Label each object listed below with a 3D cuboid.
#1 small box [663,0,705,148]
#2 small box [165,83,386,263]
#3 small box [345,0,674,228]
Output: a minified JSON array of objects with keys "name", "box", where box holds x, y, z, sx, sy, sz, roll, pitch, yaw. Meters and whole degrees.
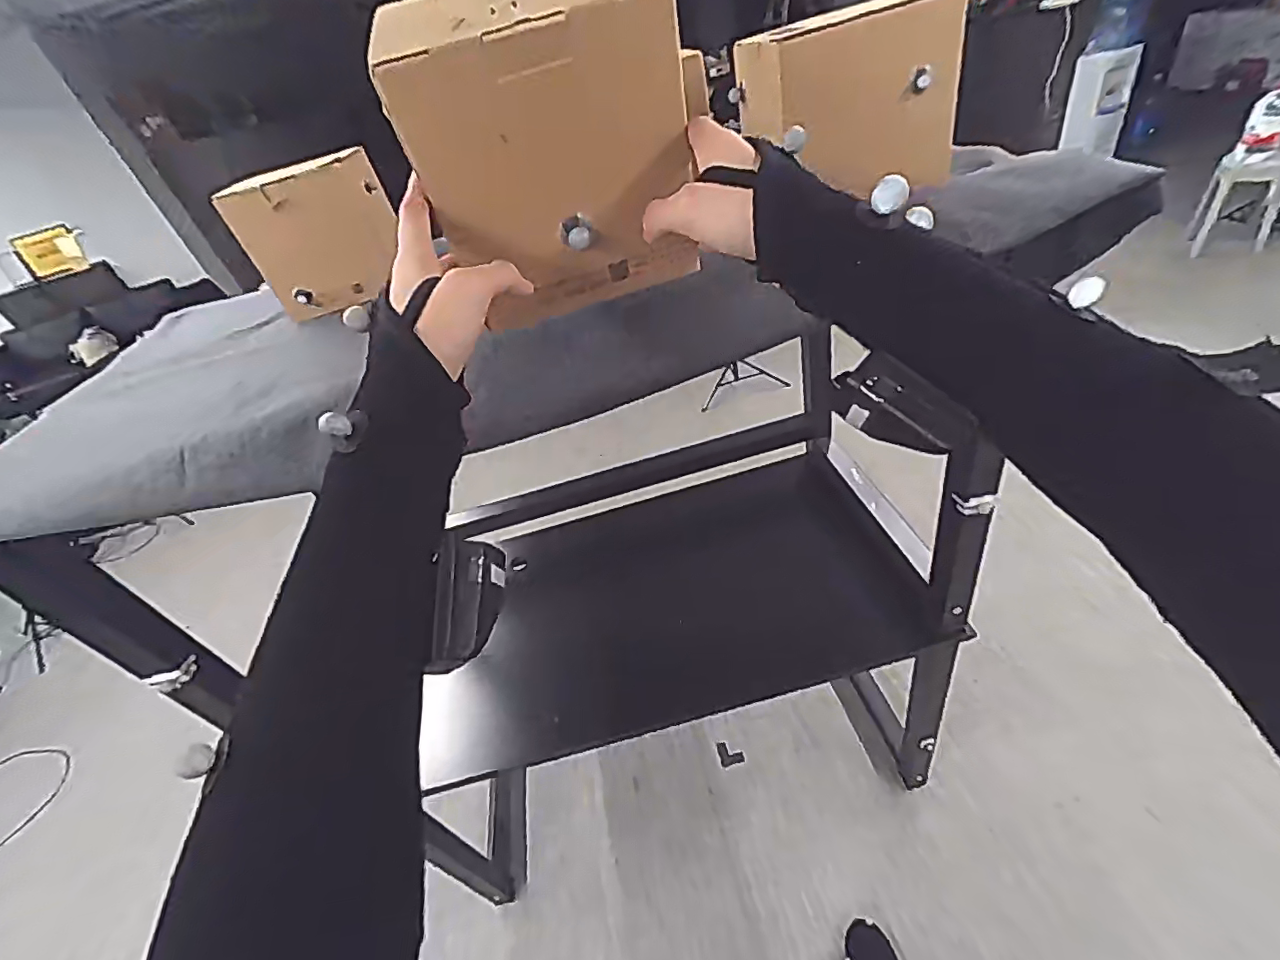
[{"name":"small box","box":[-0.018,-0.550,0.740,0.168,0.176,0.179,-16,39,1]},{"name":"small box","box":[-0.470,-0.413,0.735,0.168,0.176,0.179,-18,39,-3]},{"name":"small box","box":[-0.085,-0.294,0.348,0.168,0.176,0.179,-18,51,-3]}]
